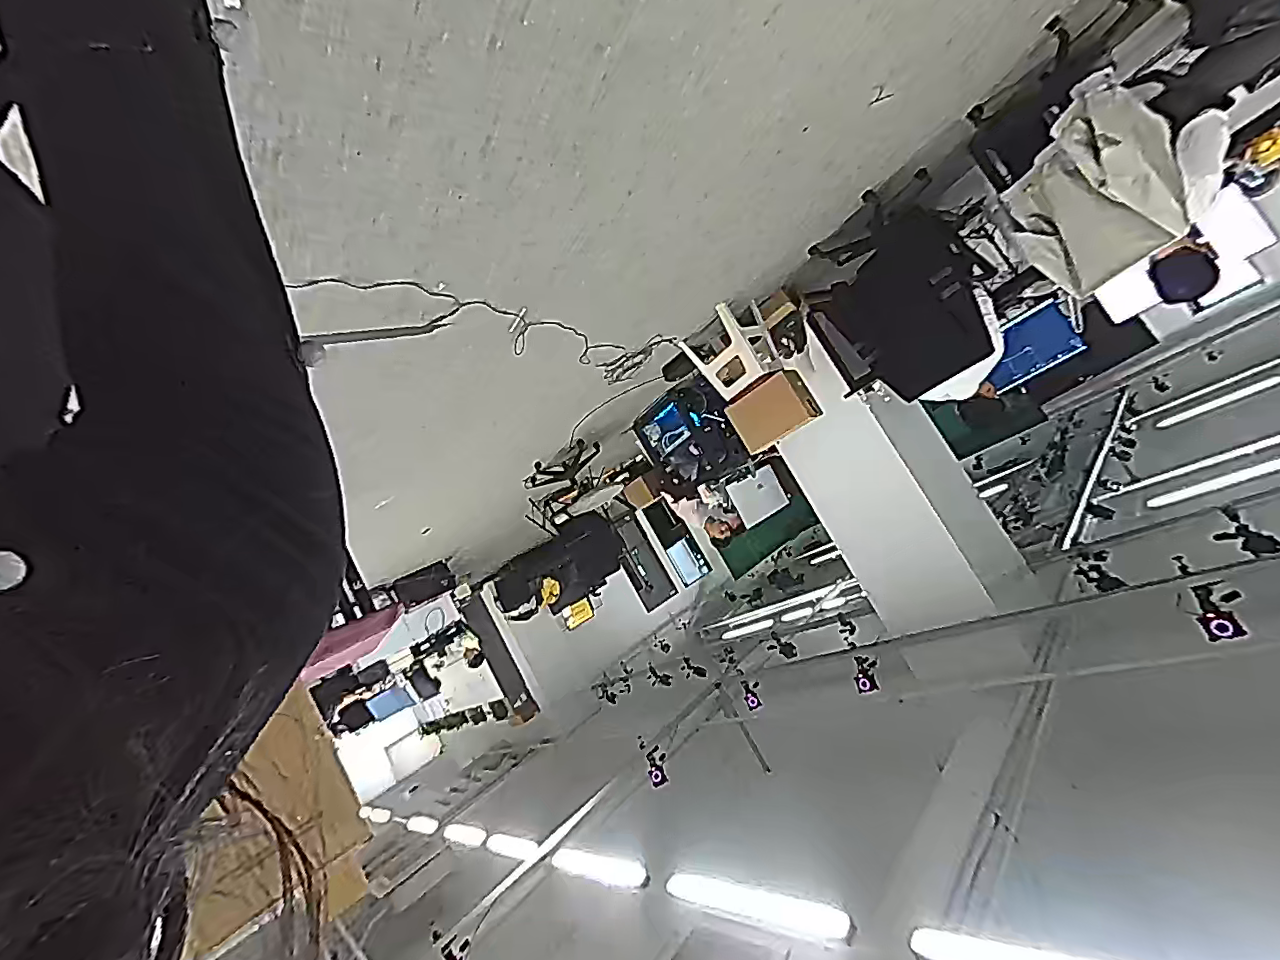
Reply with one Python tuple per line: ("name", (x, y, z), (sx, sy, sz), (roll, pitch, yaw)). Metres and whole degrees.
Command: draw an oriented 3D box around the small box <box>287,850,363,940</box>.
("small box", (-1.095, 1.427, 1.872), (0.179, 0.176, 0.168), (-24, 171, -41))
